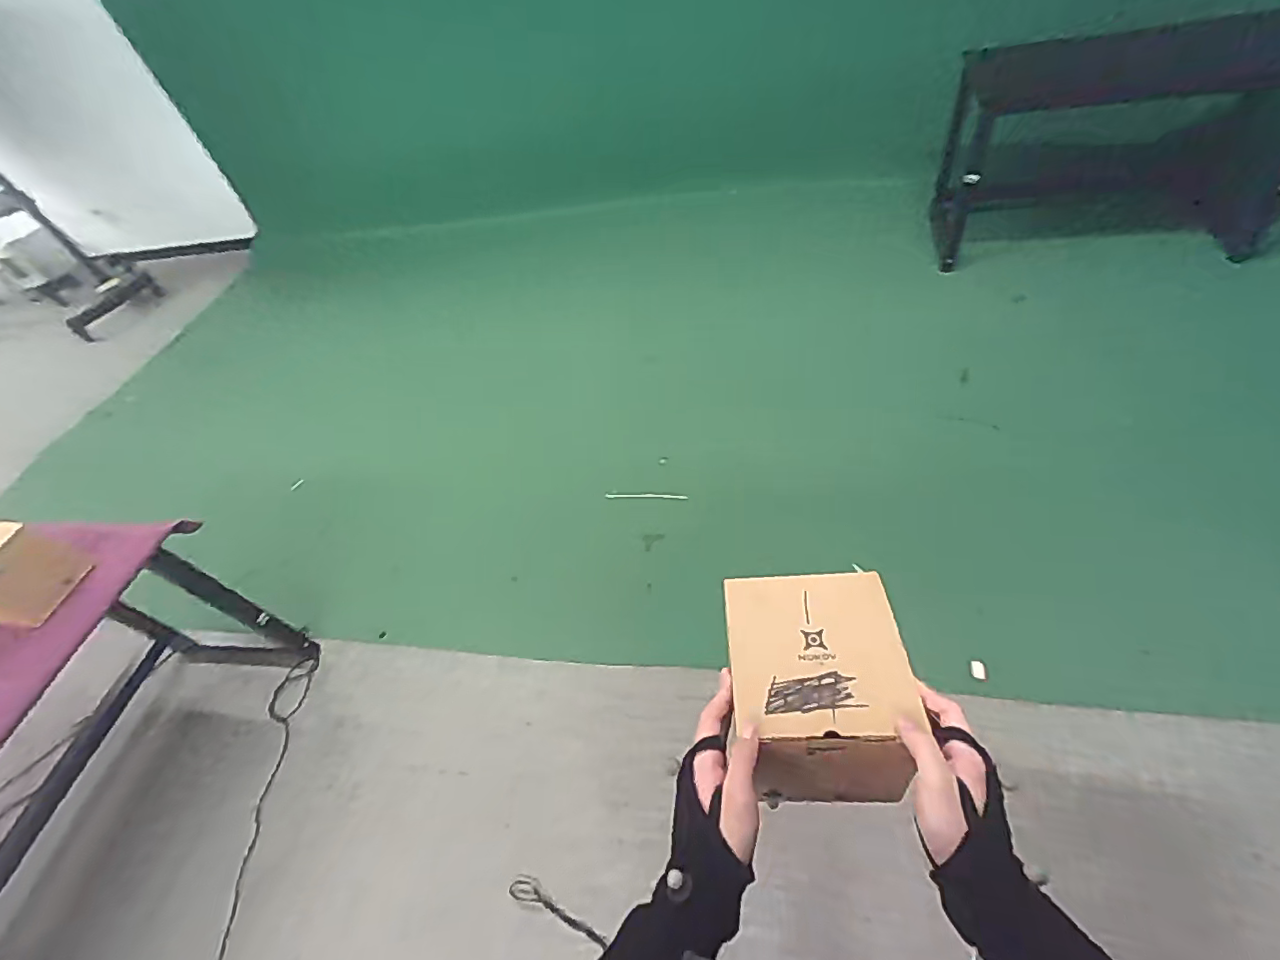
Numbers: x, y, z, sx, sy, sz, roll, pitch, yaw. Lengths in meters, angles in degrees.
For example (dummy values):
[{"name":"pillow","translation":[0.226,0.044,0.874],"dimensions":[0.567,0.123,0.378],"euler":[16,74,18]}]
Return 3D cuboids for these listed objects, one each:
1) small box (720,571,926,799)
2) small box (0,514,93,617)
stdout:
[{"name":"small box","translation":[0.176,0.219,0.572],"dimensions":[0.168,0.176,0.179],"euler":[-4,42,8]},{"name":"small box","translation":[-1.389,0.187,1.182],"dimensions":[0.179,0.176,0.168],"euler":[2,53,16]}]
